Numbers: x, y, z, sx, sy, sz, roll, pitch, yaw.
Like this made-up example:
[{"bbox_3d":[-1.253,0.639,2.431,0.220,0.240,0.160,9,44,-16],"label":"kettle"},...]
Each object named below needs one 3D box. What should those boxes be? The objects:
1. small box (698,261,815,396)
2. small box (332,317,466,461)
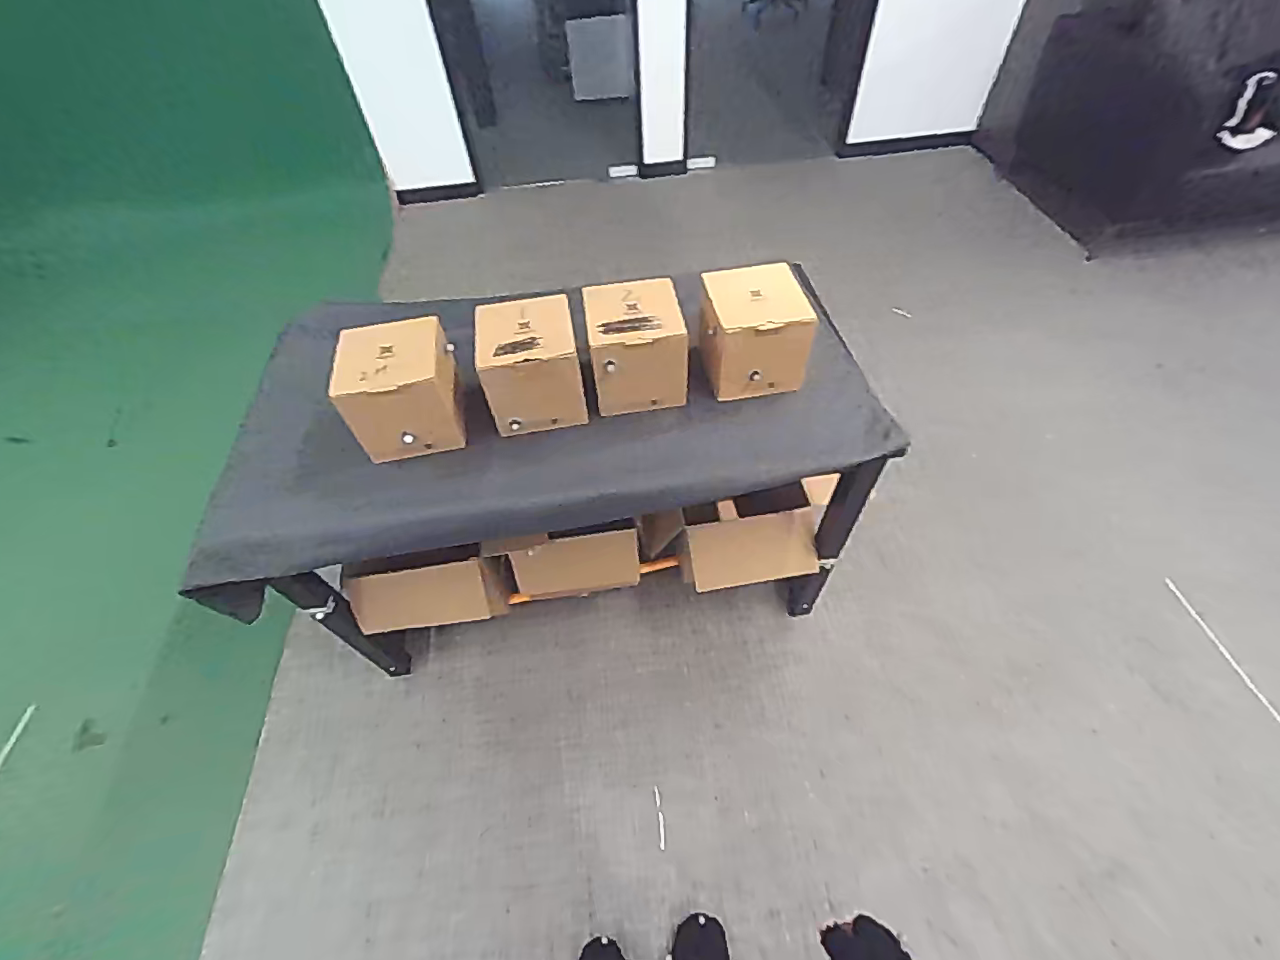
[{"bbox_3d":[0.208,-0.285,1.026,0.168,0.176,0.179,-10,54,-3],"label":"small box"},{"bbox_3d":[-0.419,-0.161,0.969,0.168,0.176,0.179,-12,54,-5],"label":"small box"}]
